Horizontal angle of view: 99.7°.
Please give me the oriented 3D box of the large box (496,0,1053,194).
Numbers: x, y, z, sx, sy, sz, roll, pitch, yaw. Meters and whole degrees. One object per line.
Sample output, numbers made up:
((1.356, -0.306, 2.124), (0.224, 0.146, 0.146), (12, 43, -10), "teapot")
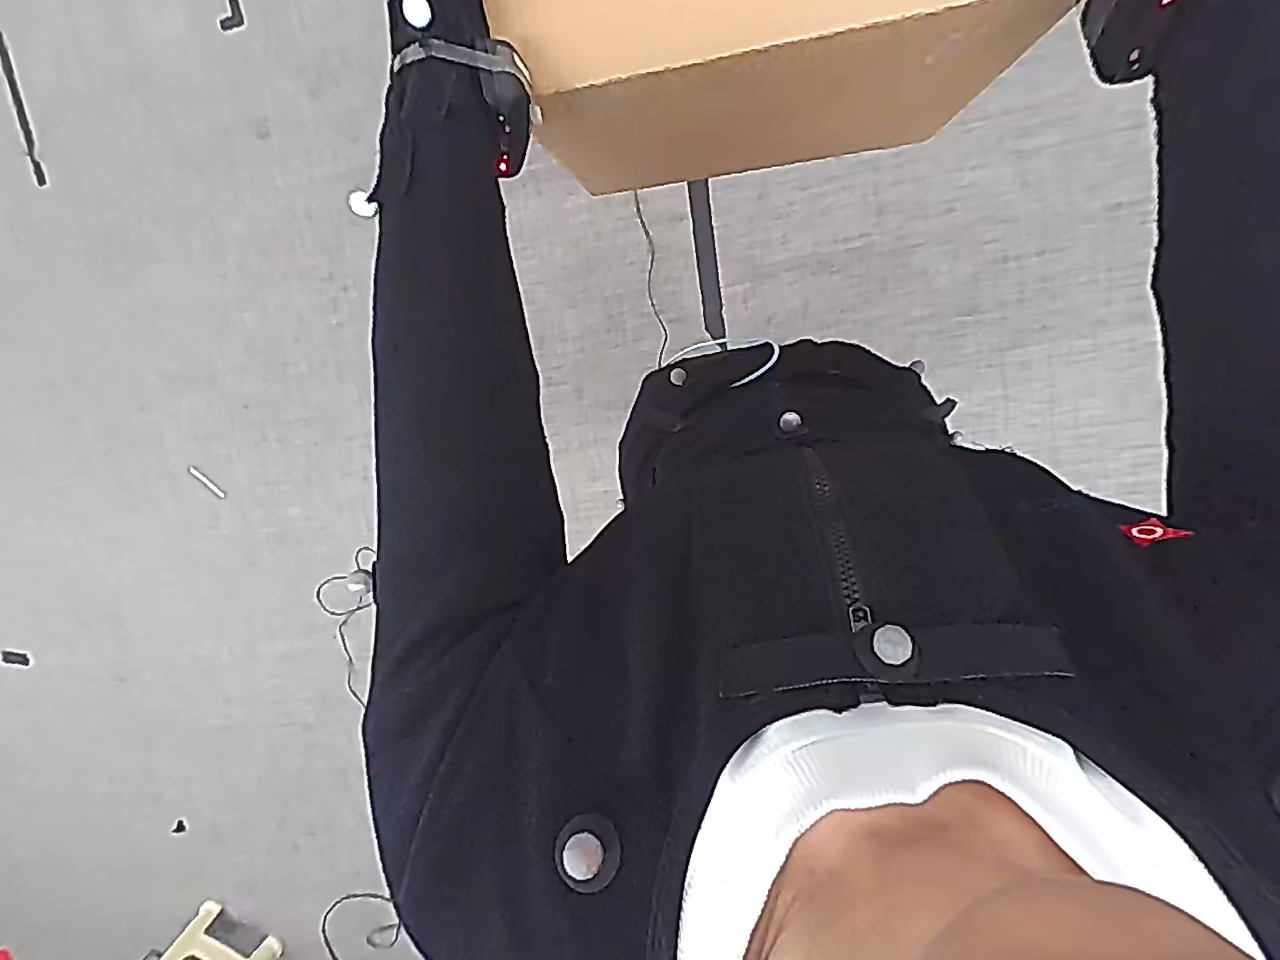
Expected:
((0.095, -0.488, 0.477), (0.408, 0.320, 0.320), (-5, 105, 9), "large box")
